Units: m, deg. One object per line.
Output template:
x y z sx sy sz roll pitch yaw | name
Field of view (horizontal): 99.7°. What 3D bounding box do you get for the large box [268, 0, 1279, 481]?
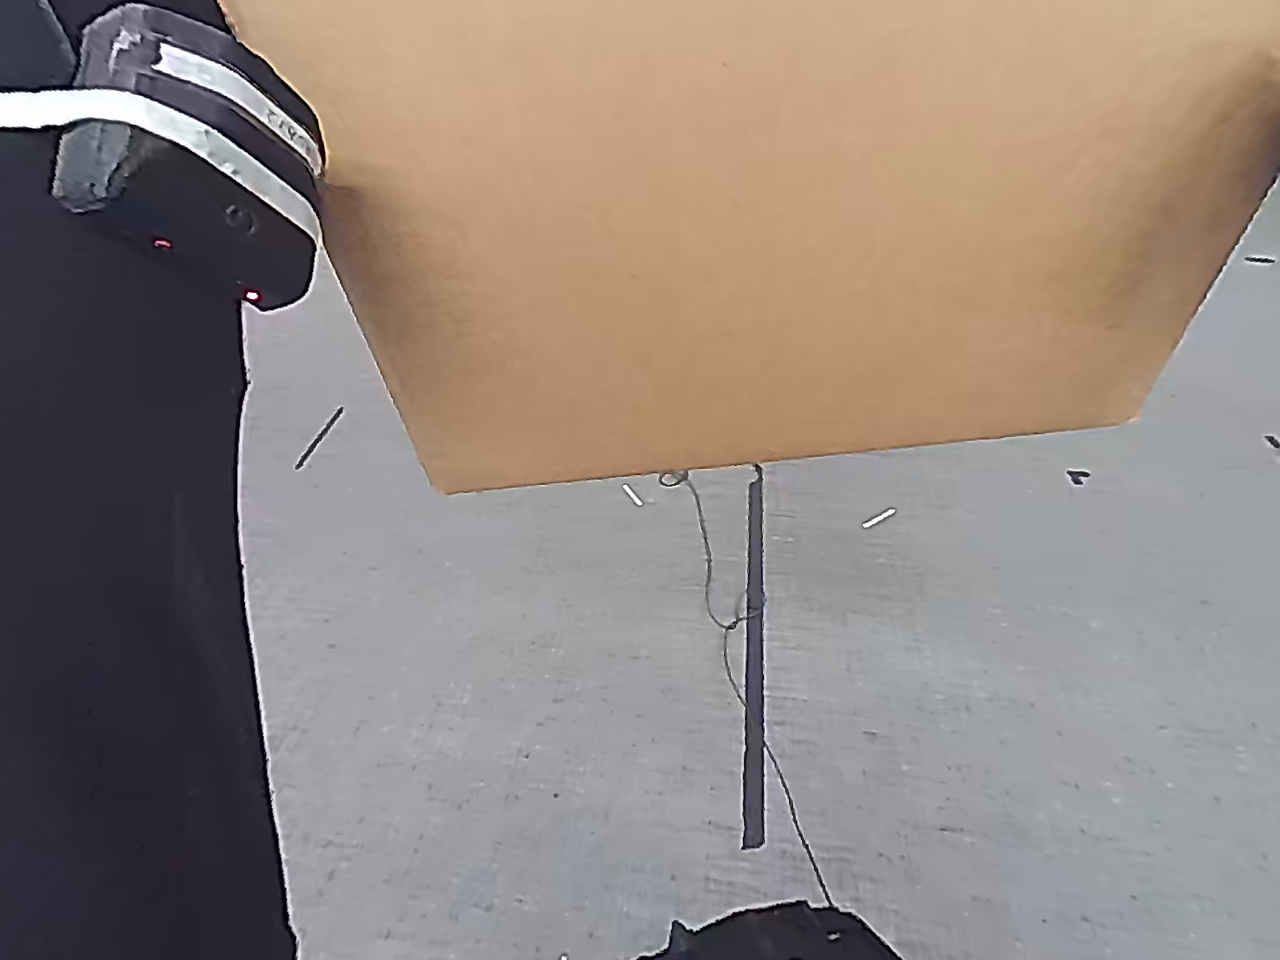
0.059 -0.225 0.344 0.408 0.320 0.320 -6 40 0 | large box
